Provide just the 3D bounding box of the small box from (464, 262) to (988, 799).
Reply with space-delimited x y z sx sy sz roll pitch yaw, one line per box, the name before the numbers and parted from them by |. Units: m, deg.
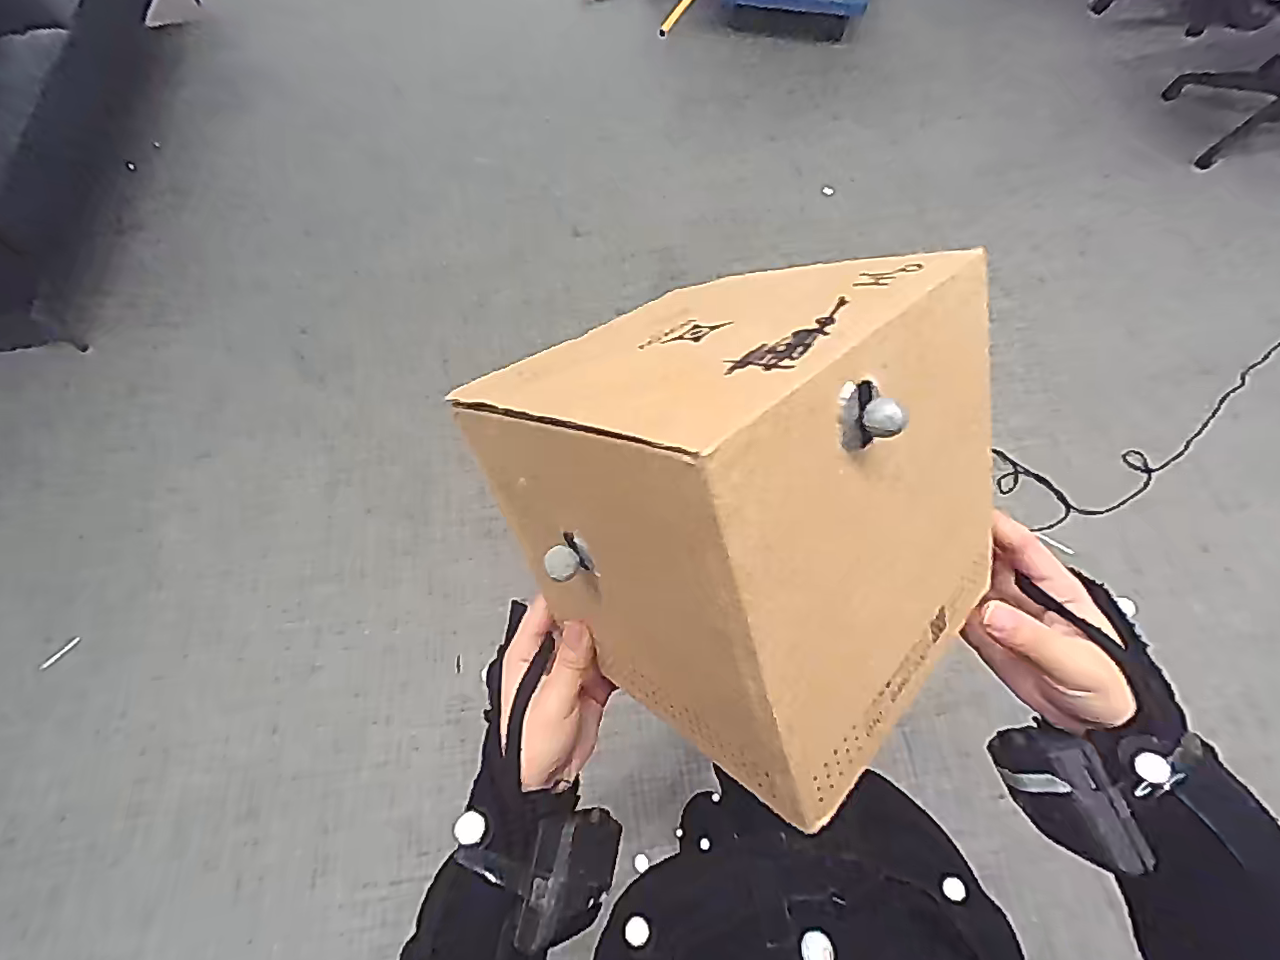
small box | 0.048 0.012 0.274 0.168 0.176 0.179 -37 31 -28
